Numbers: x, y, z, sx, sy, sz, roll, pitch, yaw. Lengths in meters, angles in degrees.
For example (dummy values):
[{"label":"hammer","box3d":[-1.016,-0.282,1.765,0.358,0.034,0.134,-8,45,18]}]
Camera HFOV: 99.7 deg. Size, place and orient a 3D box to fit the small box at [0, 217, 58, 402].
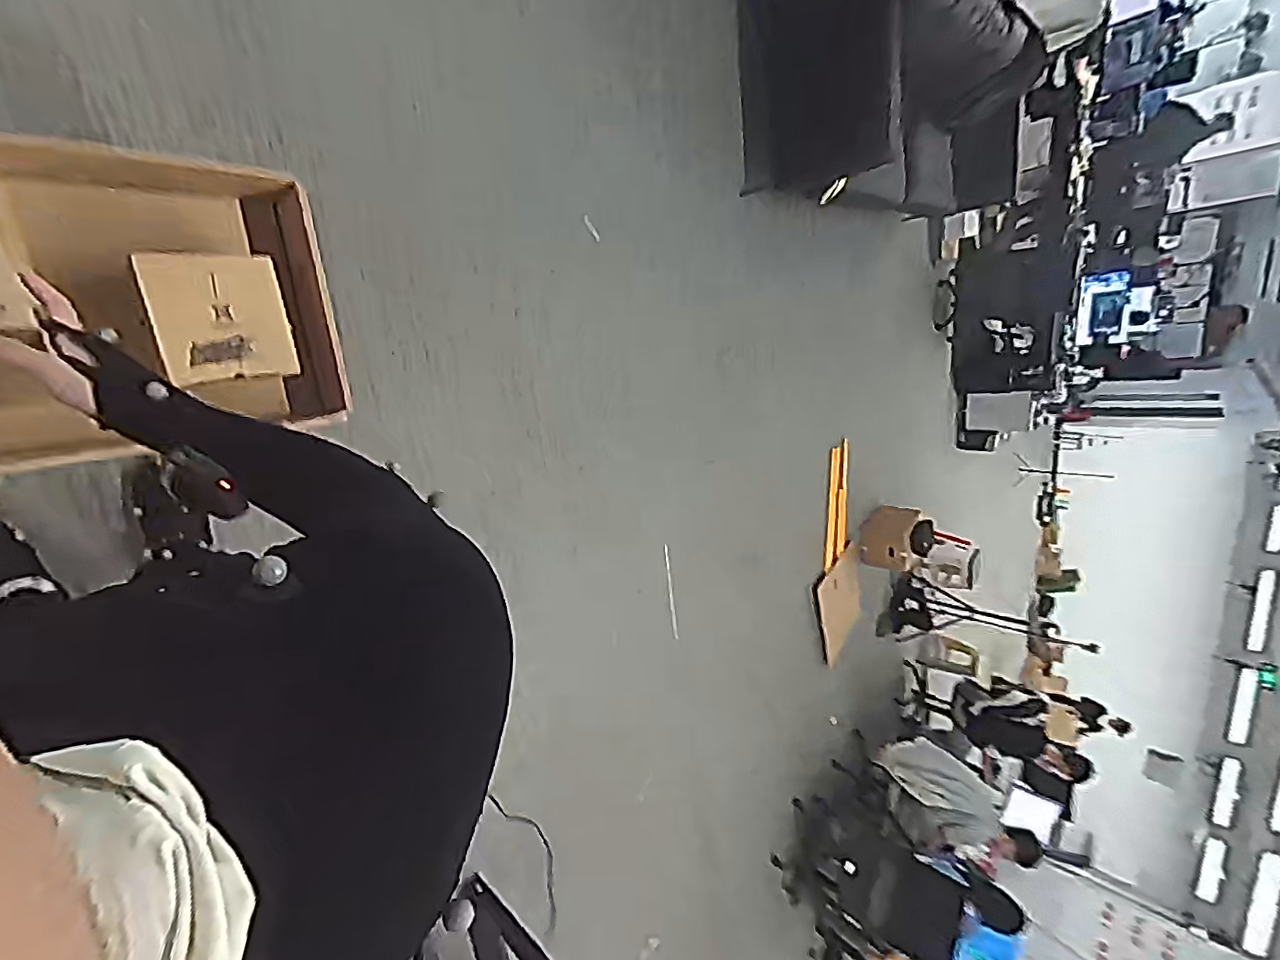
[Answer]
[{"label":"small box","box3d":[-0.674,-0.177,0.485,0.168,0.176,0.179,-22,87,-44]}]
